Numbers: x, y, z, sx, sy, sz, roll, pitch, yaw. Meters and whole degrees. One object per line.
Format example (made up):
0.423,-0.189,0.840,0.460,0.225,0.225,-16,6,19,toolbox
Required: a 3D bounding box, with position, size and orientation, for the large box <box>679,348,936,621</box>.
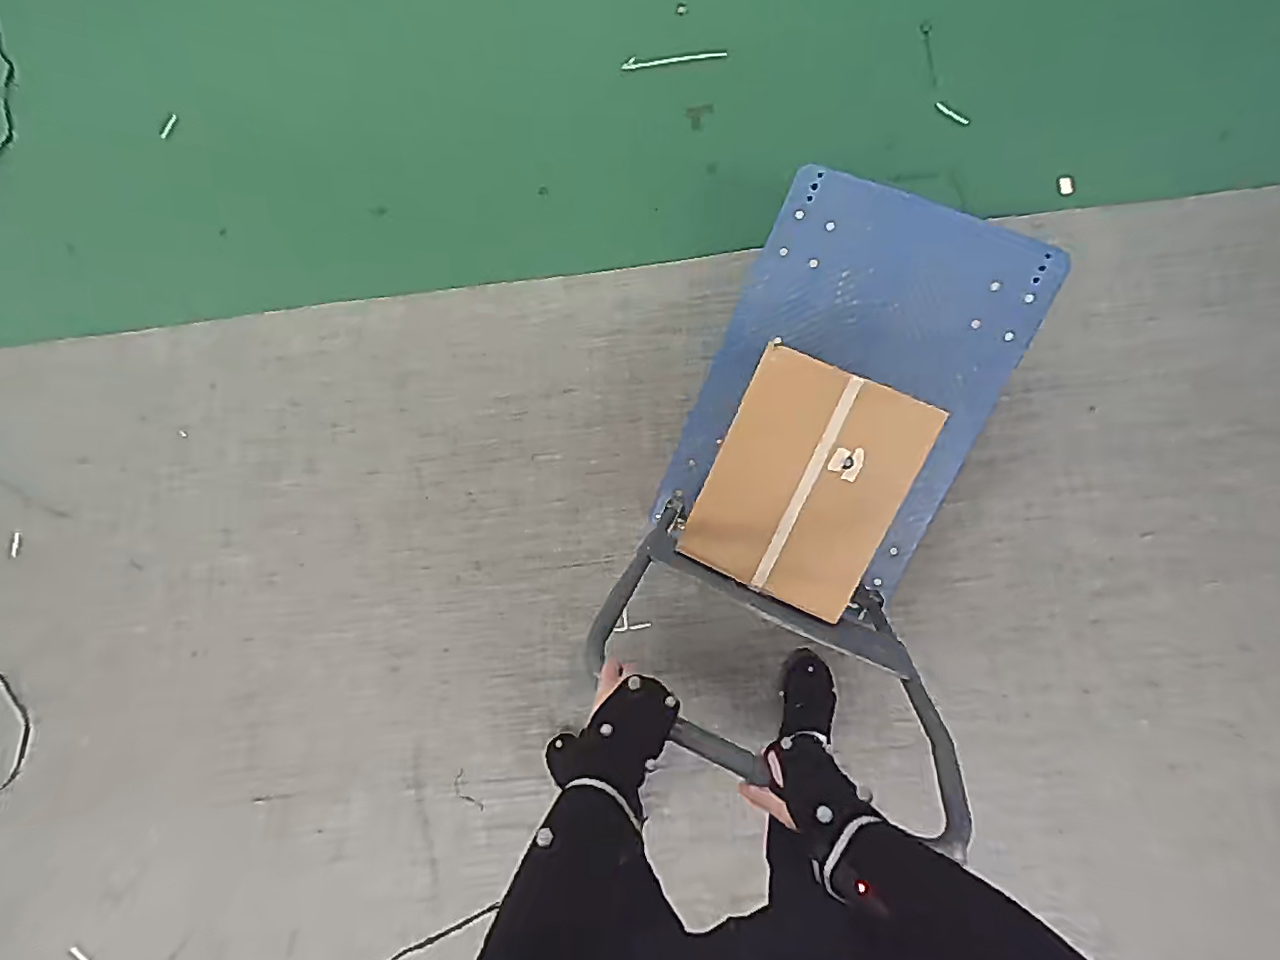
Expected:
0.309,-0.002,1.087,0.320,0.320,0.408,25,100,7,large box
